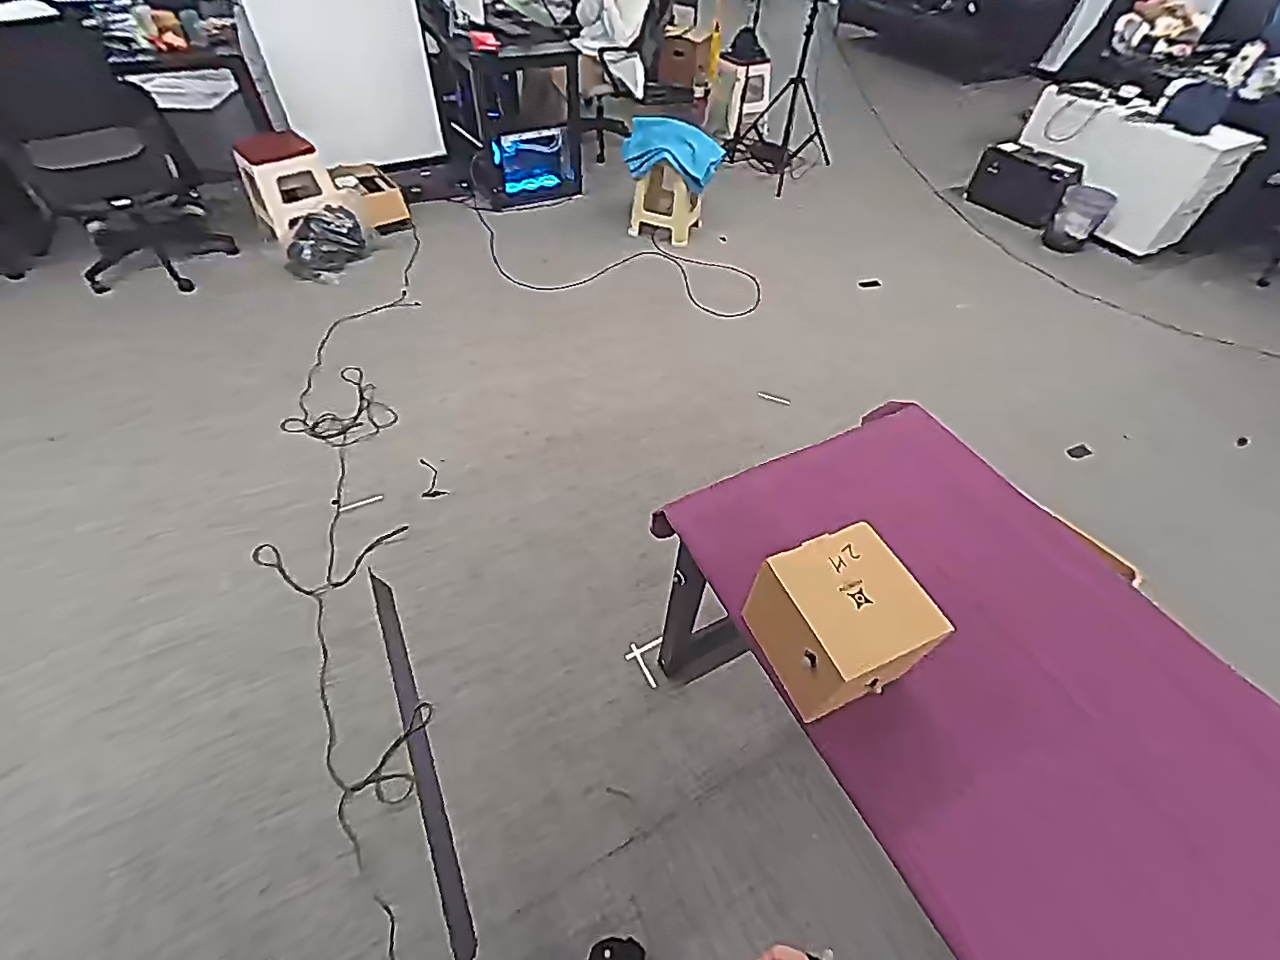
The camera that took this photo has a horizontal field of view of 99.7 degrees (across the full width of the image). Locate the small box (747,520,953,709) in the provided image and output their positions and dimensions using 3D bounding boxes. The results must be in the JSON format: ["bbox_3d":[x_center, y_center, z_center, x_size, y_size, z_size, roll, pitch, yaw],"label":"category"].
[{"bbox_3d":[0.268,0.190,0.736,0.168,0.176,0.179,-17,53,-17],"label":"small box"}]
